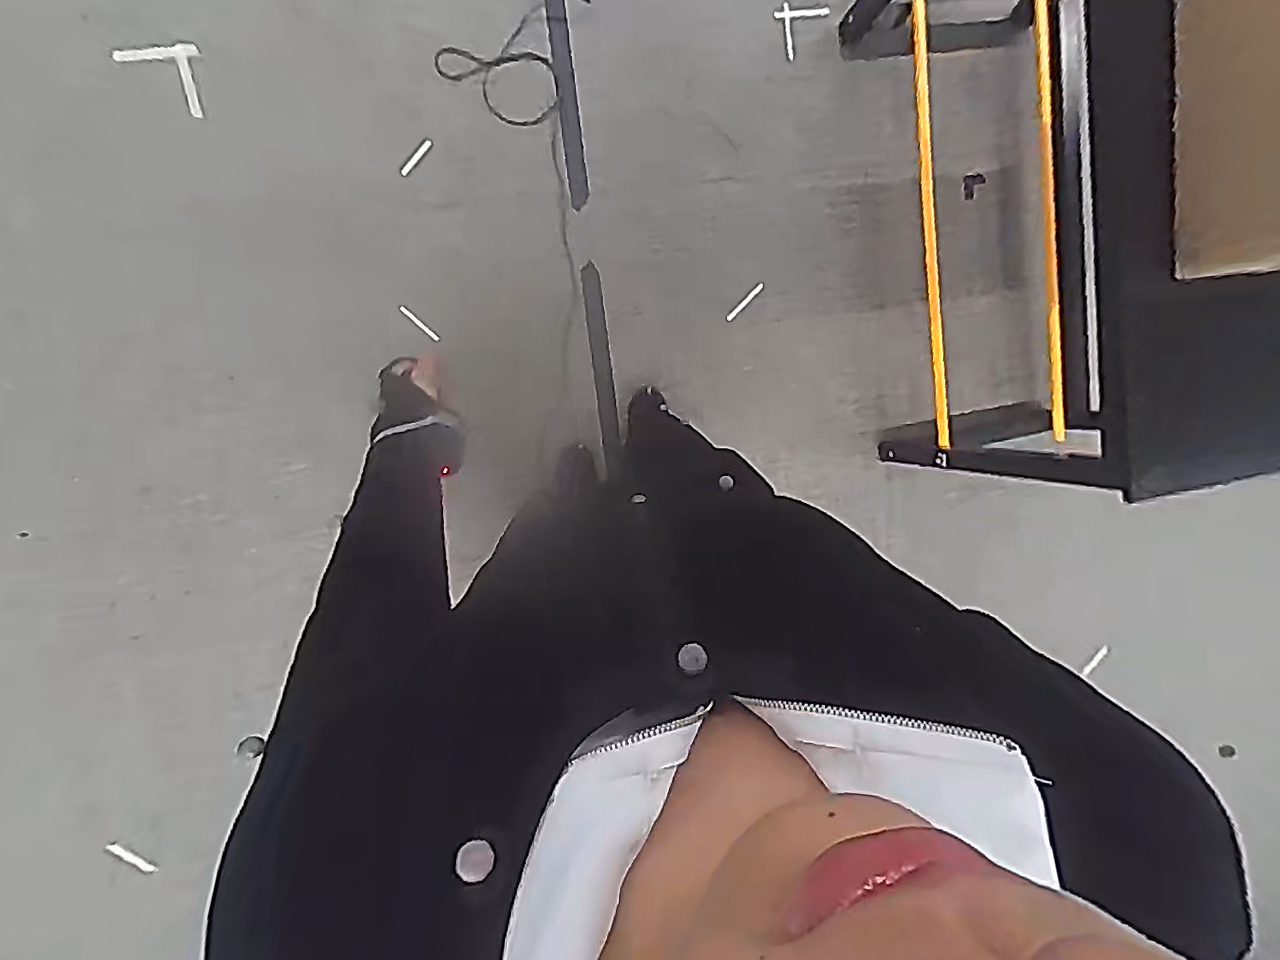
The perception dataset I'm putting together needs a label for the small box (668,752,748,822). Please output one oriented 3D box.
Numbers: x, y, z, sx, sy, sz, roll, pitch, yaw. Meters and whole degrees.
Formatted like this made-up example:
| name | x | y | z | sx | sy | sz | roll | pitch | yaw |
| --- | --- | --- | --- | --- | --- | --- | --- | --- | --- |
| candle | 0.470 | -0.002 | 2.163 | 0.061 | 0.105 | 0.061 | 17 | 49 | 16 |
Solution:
| name | x | y | z | sx | sy | sz | roll | pitch | yaw |
| --- | --- | --- | --- | --- | --- | --- | --- | --- | --- |
| small box | 0.186 | 0.883 | 1.467 | 0.168 | 0.176 | 0.179 | -16 | 98 | -7 |
